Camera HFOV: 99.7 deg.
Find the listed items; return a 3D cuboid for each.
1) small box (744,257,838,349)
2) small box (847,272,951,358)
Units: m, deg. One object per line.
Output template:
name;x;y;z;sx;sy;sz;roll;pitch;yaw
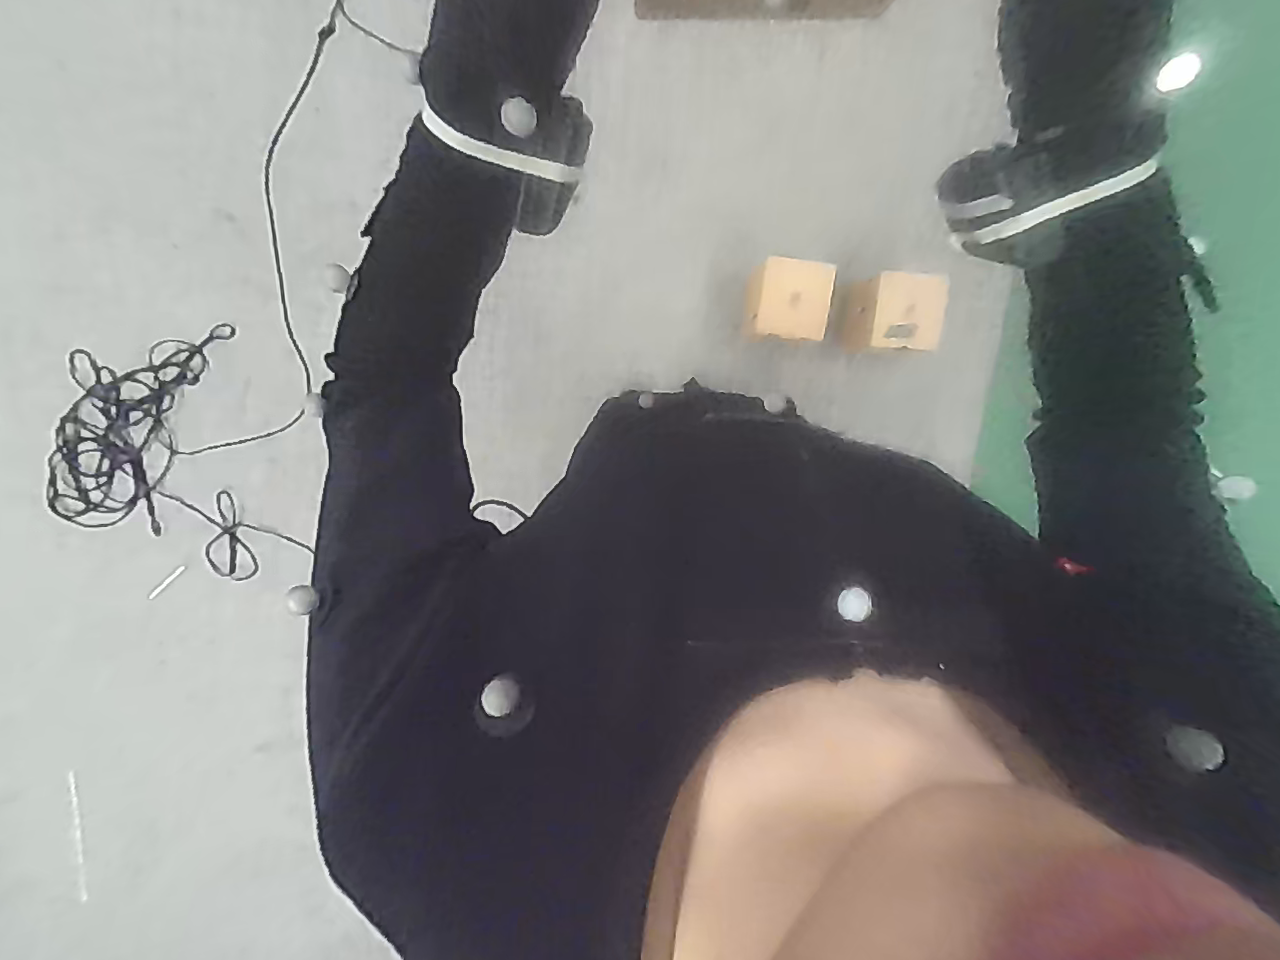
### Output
small box;0.360;-0.426;1.325;0.168;0.176;0.179;7;100;-2
small box;0.628;-0.398;1.332;0.168;0.176;0.179;4;99;-1
